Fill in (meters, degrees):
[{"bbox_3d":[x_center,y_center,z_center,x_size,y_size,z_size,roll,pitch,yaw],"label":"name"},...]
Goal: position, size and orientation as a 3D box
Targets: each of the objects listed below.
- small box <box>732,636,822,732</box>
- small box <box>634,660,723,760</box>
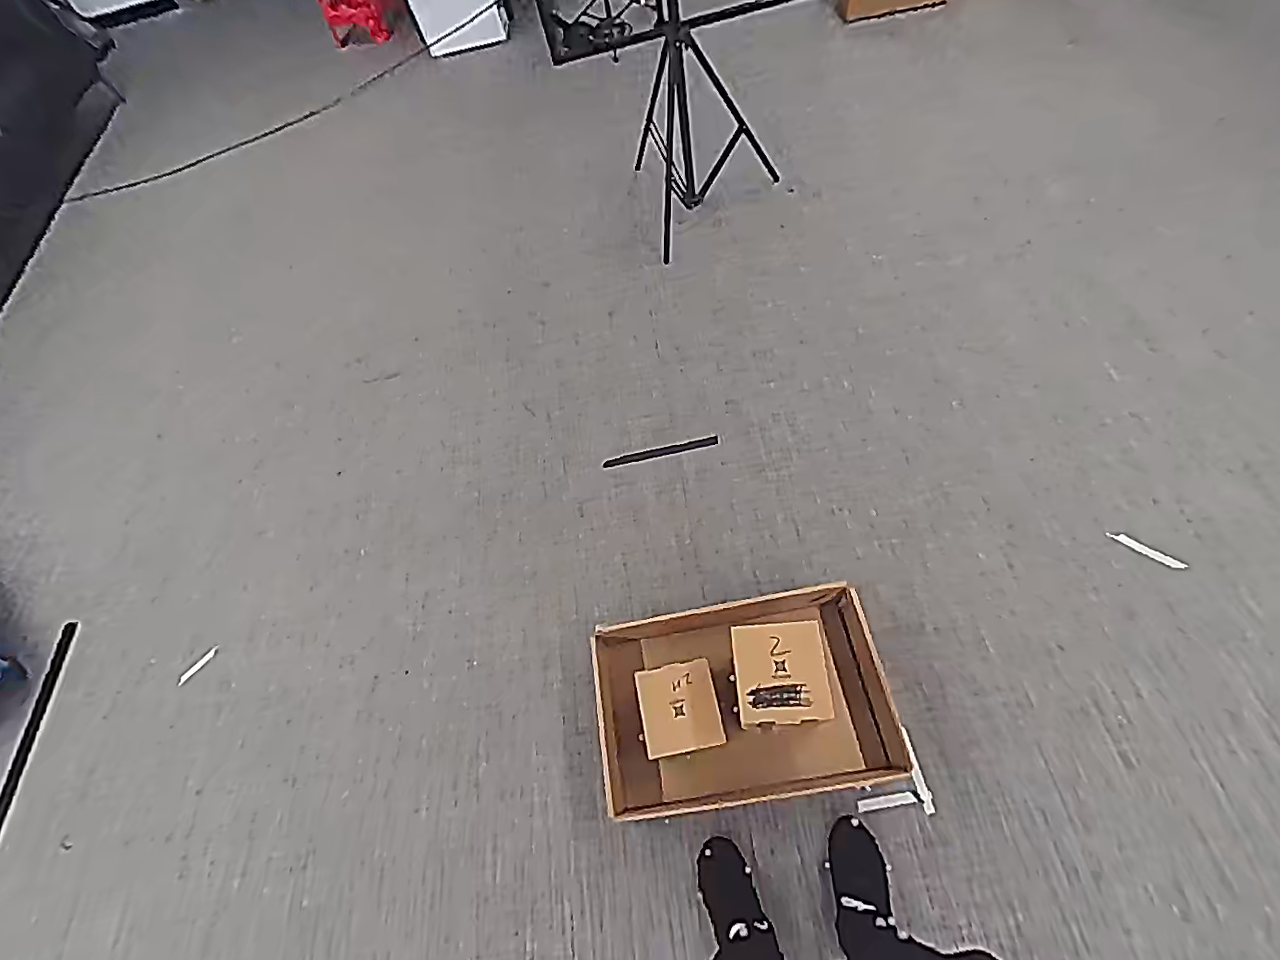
[{"bbox_3d":[0.299,0.460,1.209,0.168,0.176,0.179,-9,63,9],"label":"small box"},{"bbox_3d":[0.090,0.518,1.213,0.168,0.176,0.179,-12,62,2],"label":"small box"}]
